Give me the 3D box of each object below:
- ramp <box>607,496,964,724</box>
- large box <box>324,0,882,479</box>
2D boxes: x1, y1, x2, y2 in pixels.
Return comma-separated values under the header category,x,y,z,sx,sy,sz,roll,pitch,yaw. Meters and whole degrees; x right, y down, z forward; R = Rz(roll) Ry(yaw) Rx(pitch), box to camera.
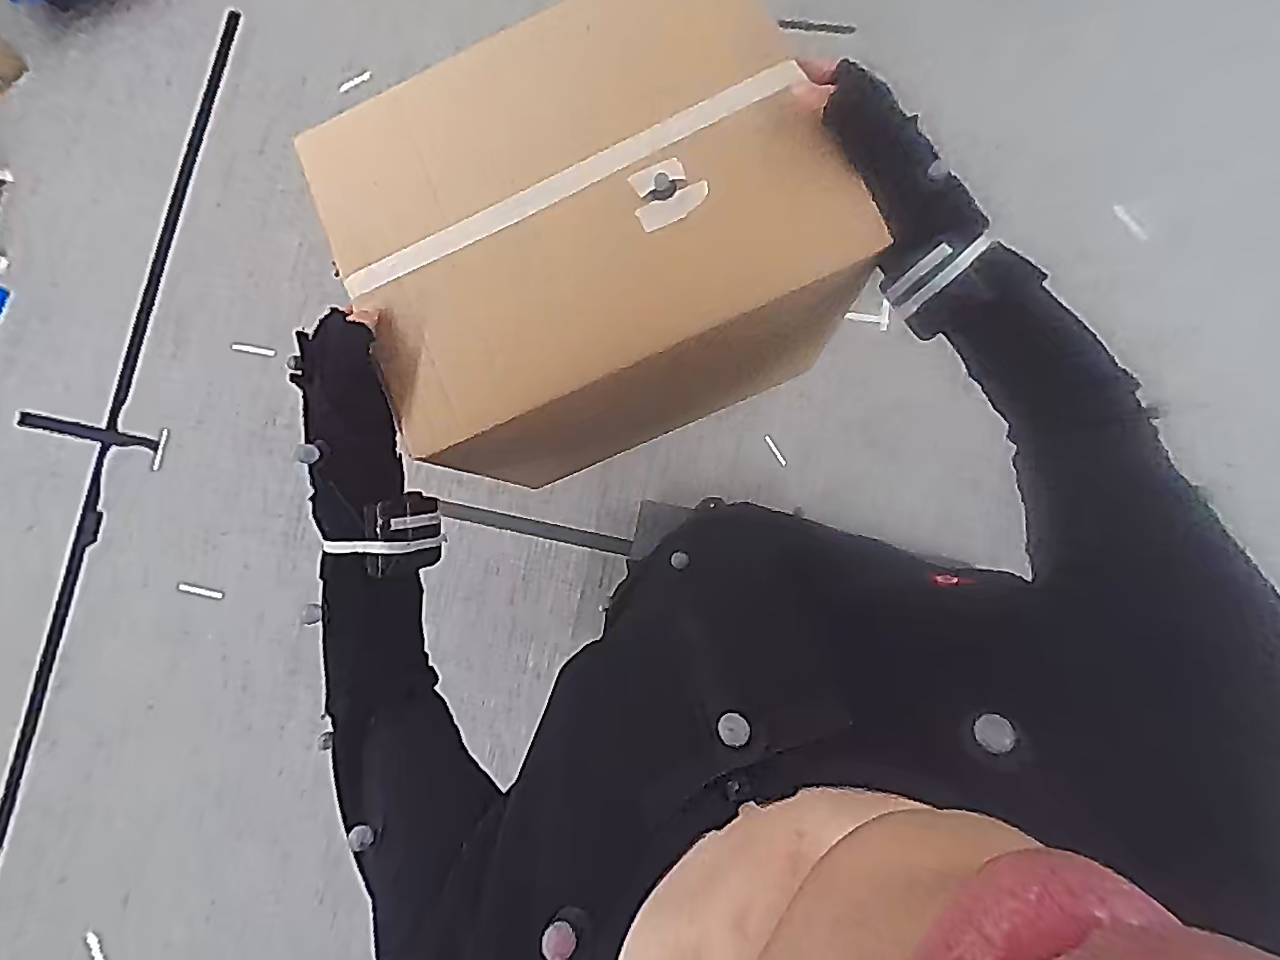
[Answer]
category,x,y,z,sx,sy,sz,roll,pitch,yaw
ramp,0.435,0.371,1.529,0.991,0.206,0.509,8,83,4
large box,-0.033,-0.231,0.598,0.408,0.320,0.320,-23,82,3
